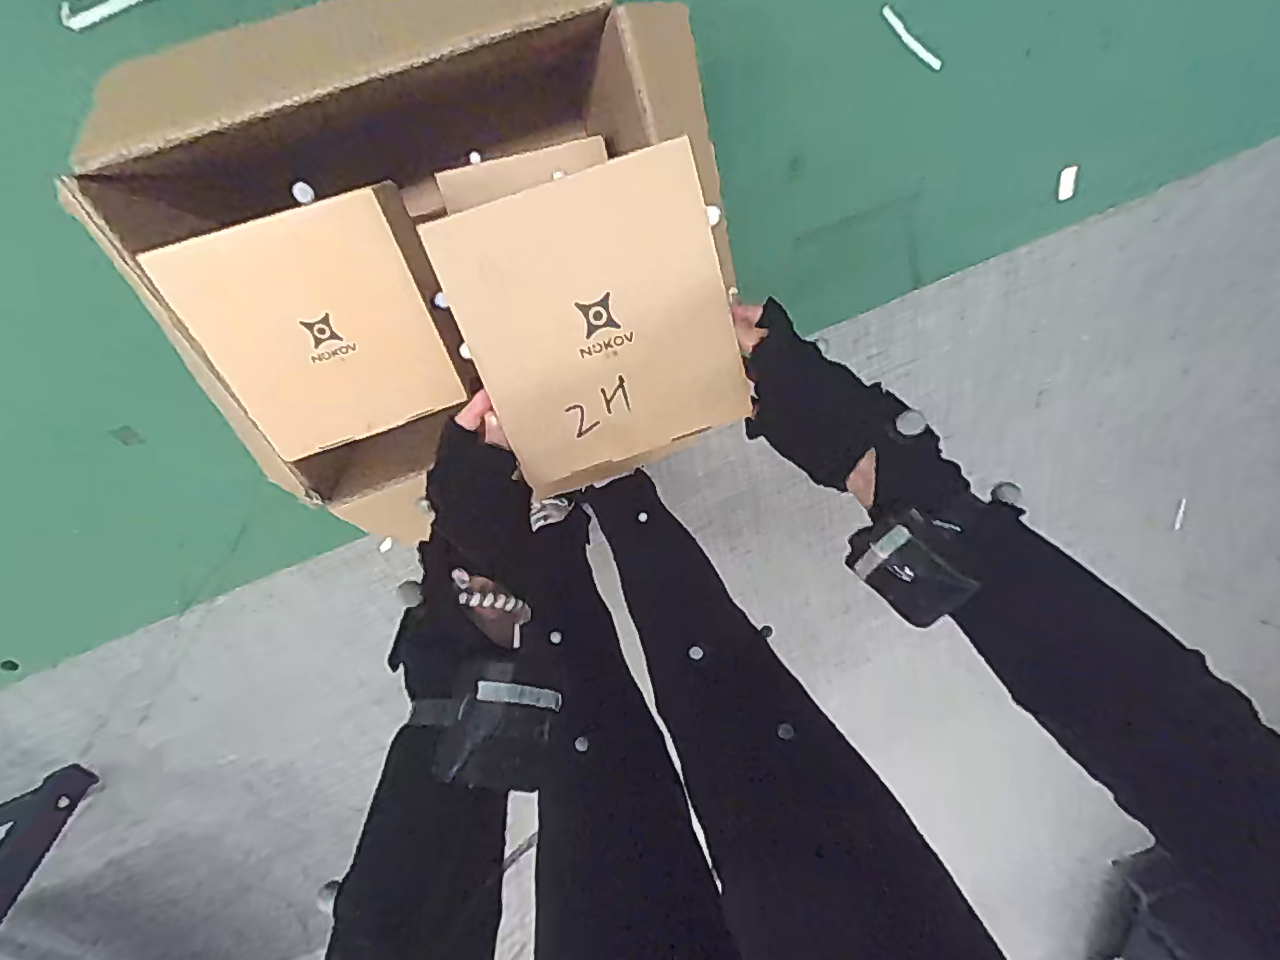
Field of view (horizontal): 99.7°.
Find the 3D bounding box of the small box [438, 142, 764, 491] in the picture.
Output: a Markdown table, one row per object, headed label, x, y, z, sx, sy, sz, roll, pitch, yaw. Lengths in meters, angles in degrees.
| label | x | y | z | sx | sy | sz | roll | pitch | yaw |
| --- | --- | --- | --- | --- | --- | --- | --- | --- | --- |
| small box | -0.025 | -0.119 | 0.411 | 0.168 | 0.176 | 0.179 | -18 | 111 | 0 |
